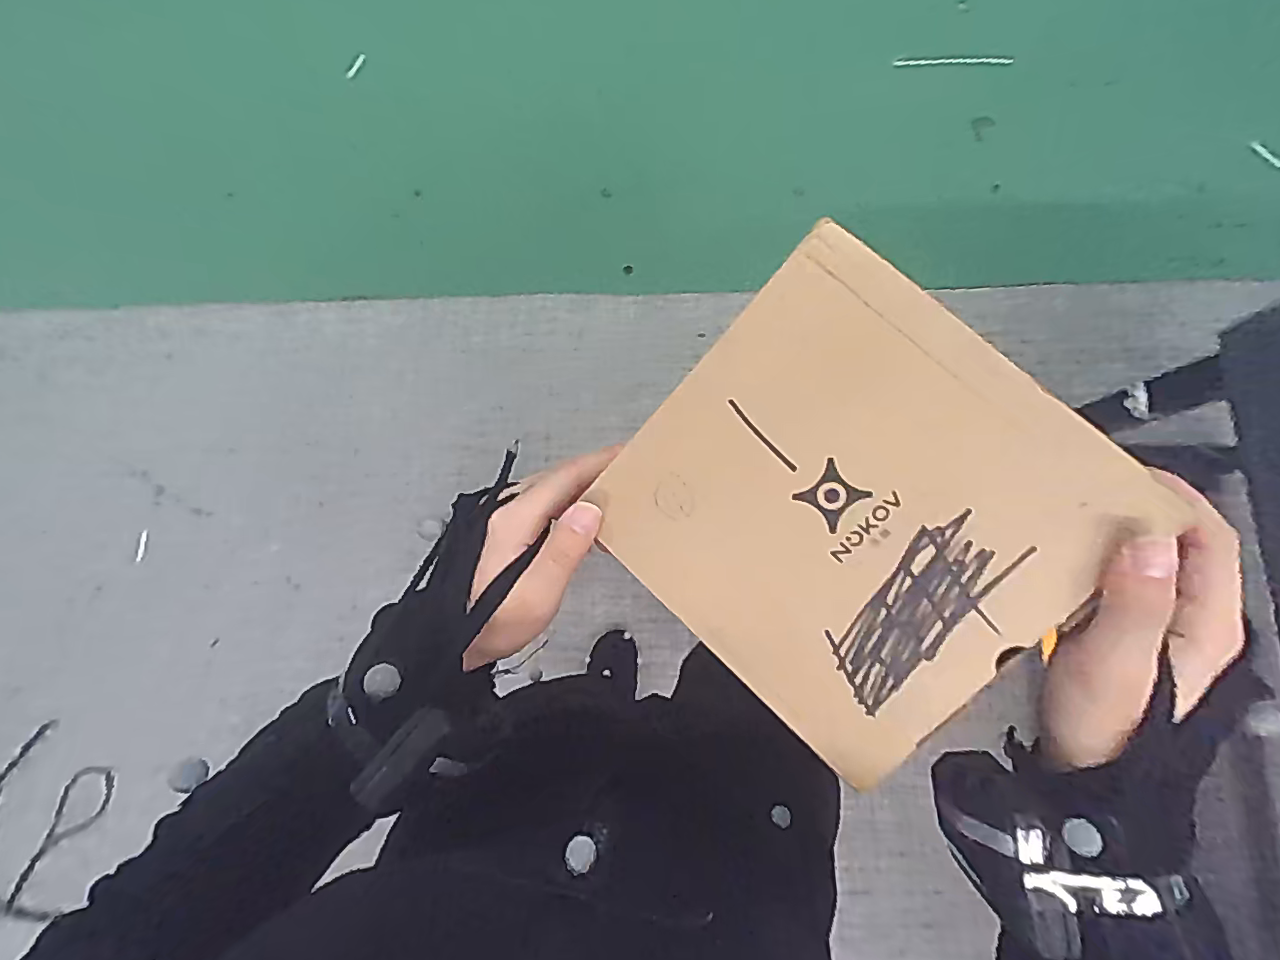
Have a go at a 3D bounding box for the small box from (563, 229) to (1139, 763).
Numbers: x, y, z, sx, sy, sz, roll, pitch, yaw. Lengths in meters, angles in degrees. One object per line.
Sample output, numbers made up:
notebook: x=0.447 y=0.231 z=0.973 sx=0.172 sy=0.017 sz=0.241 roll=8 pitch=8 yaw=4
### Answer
small box: x=0.095 y=0.004 z=0.308 sx=0.179 sy=0.176 sz=0.168 roll=42 pitch=101 yaw=8
